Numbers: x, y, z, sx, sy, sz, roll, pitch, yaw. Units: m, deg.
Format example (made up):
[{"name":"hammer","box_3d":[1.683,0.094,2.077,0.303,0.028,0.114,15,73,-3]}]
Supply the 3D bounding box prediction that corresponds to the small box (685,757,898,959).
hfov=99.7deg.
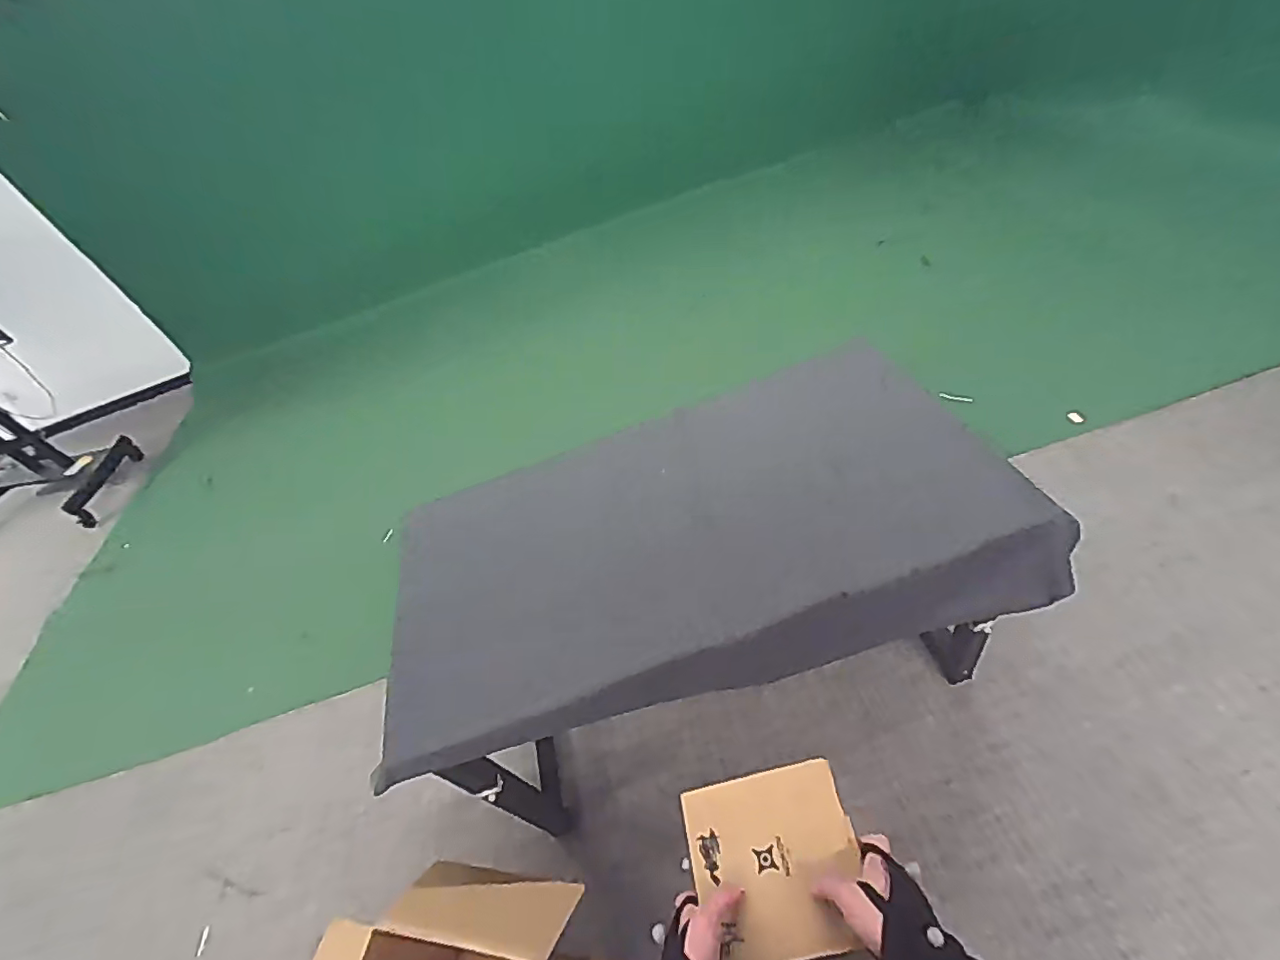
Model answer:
[{"name":"small box","box_3d":[0.163,0.443,0.609,0.179,0.176,0.168,-17,41,5]}]
